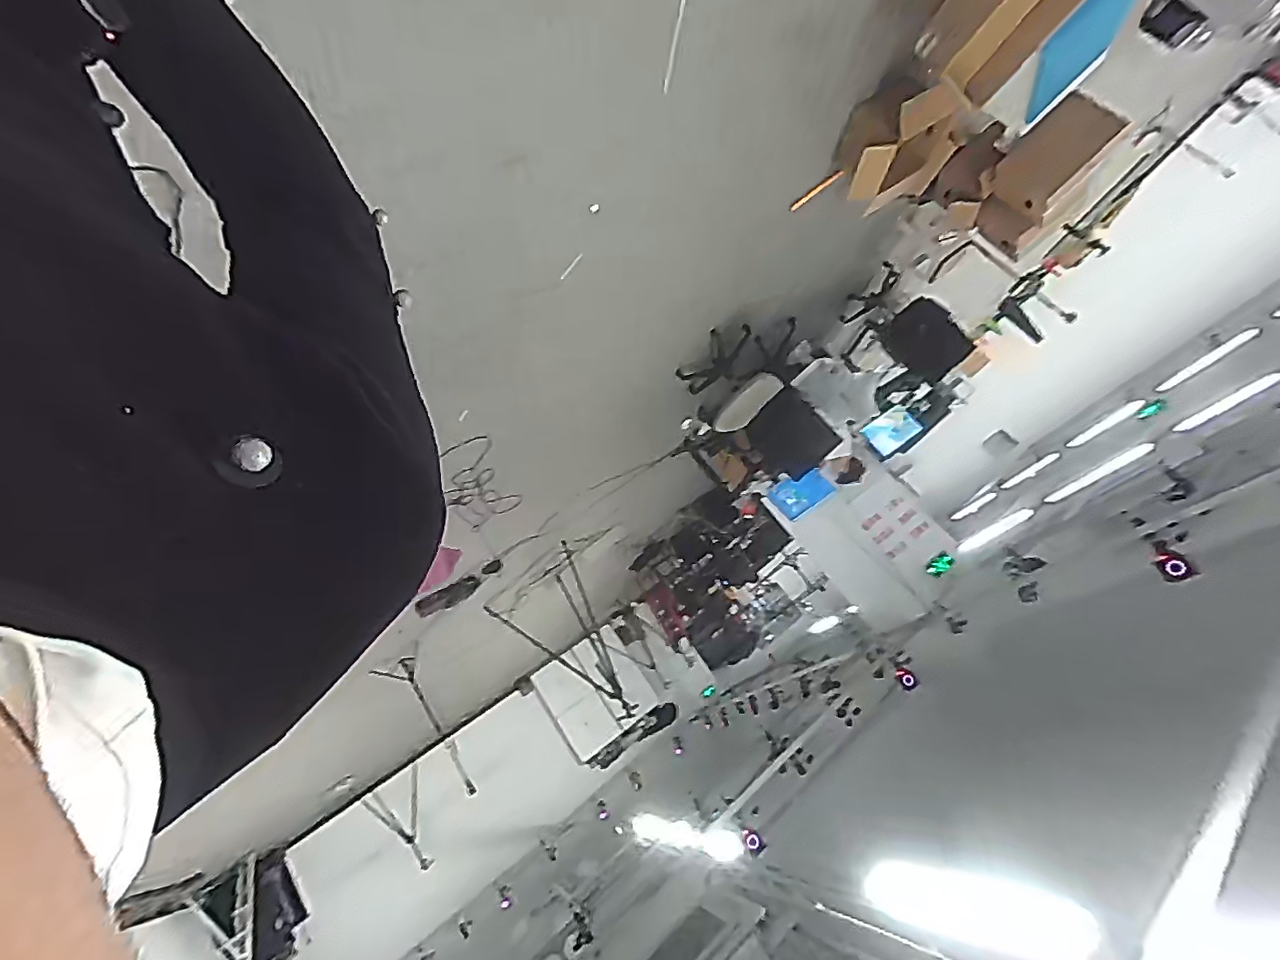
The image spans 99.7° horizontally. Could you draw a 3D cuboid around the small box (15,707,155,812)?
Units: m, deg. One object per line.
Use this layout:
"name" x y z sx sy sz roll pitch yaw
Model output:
"small box" -1.388 0.696 1.360 0.168 0.176 0.179 -31 163 -25
